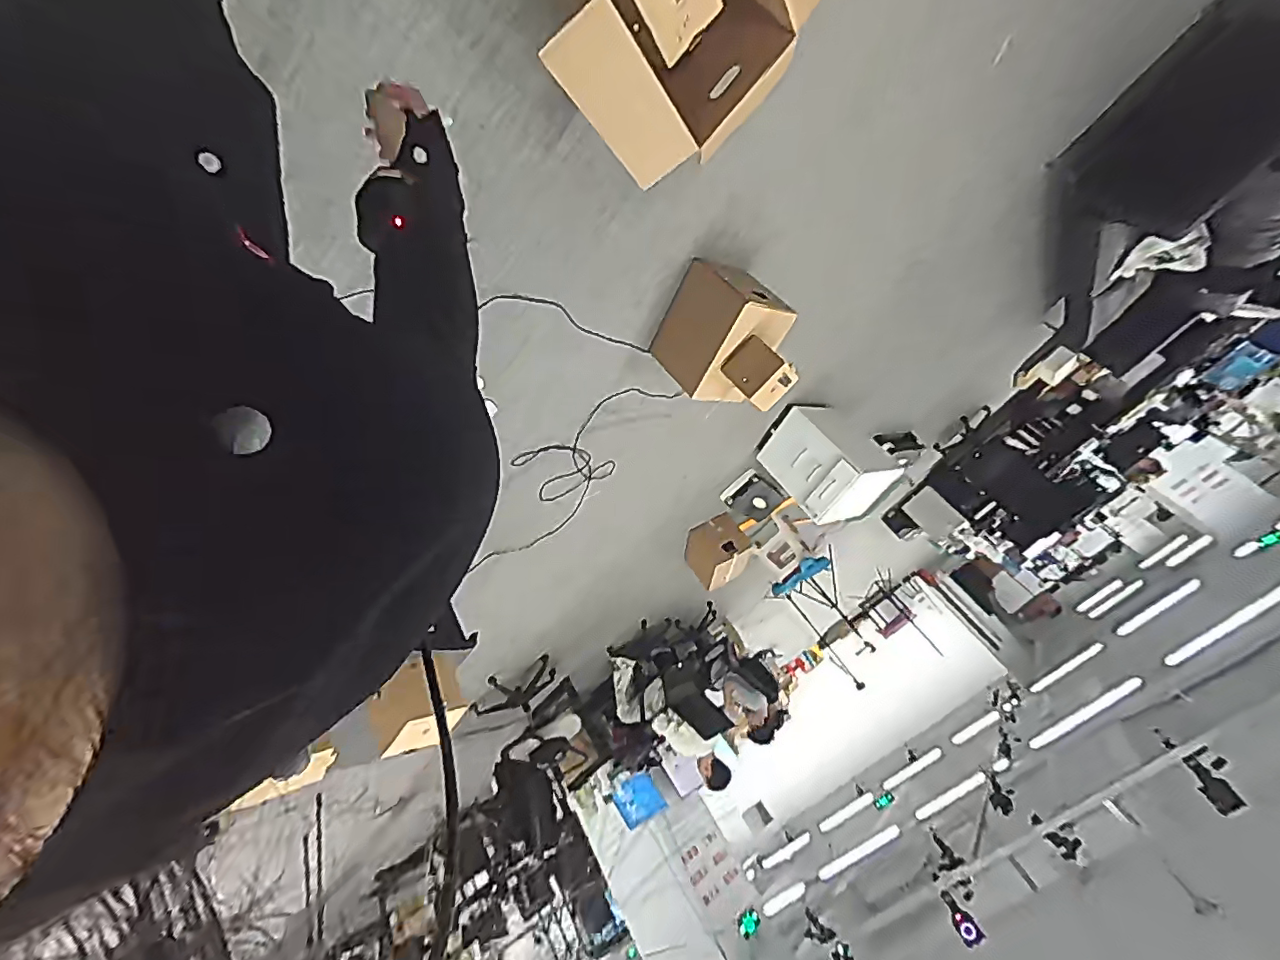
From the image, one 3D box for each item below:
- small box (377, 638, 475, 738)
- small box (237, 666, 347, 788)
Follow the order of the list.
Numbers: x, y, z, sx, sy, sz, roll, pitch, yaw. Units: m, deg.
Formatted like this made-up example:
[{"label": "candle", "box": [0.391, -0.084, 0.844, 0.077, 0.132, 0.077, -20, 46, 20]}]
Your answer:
[{"label": "small box", "box": [-0.574, 0.544, 1.433, 0.168, 0.176, 0.179, 7, 130, -50]}, {"label": "small box", "box": [-0.787, 0.546, 1.217, 0.179, 0.176, 0.168, -4, 137, -42]}]
